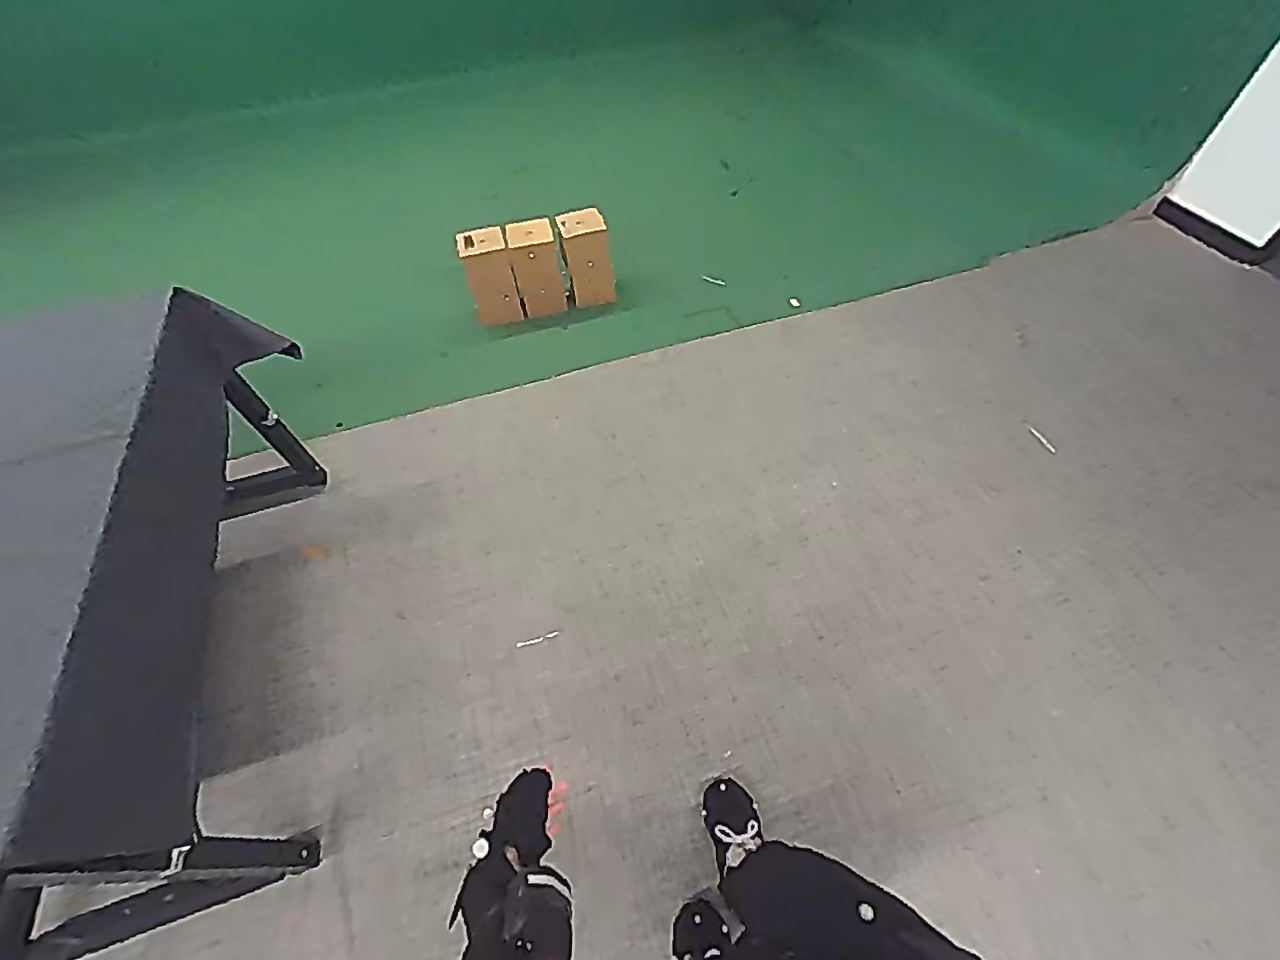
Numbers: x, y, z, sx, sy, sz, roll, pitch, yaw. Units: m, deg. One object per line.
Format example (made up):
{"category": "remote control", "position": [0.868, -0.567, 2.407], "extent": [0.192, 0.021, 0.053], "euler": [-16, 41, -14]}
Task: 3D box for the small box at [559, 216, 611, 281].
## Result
{"category": "small box", "position": [-0.217, -0.935, 2.189], "extent": [0.179, 0.176, 0.168], "euler": [-15, 55, -9]}
